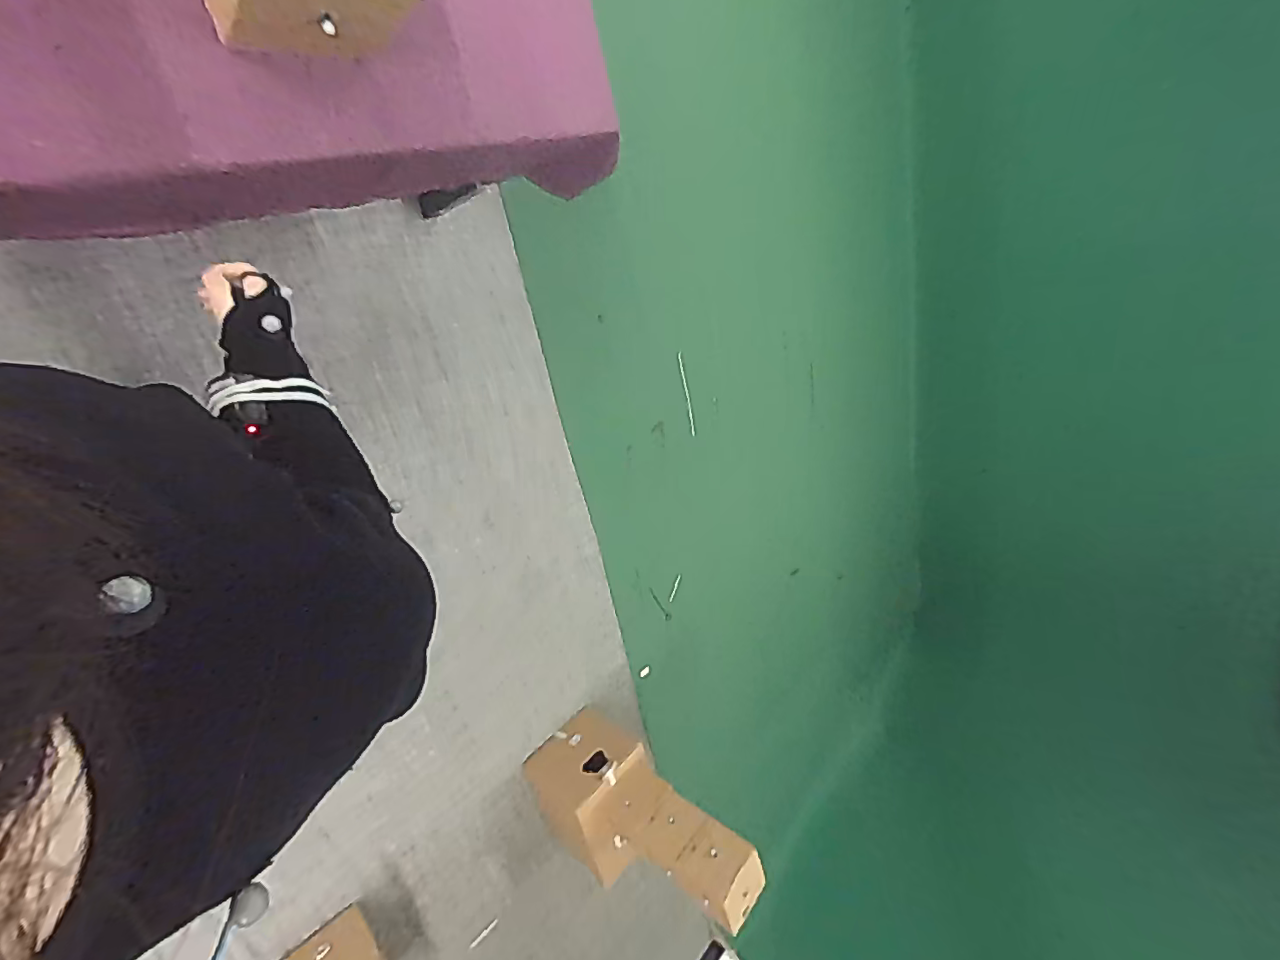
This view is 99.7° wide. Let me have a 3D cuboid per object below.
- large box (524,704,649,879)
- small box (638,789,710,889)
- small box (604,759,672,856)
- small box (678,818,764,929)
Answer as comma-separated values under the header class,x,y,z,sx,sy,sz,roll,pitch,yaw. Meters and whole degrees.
class,x,y,z,sx,sy,sz,roll,pitch,yaw
large box,-0.166,1.119,1.979,0.320,0.320,0.408,-32,119,-37
small box,0.117,1.103,1.679,0.168,0.176,0.179,-37,122,-34
small box,0.001,1.077,1.792,0.179,0.176,0.168,-34,120,-38
small box,0.231,1.122,1.562,0.168,0.176,0.179,-35,120,-36
